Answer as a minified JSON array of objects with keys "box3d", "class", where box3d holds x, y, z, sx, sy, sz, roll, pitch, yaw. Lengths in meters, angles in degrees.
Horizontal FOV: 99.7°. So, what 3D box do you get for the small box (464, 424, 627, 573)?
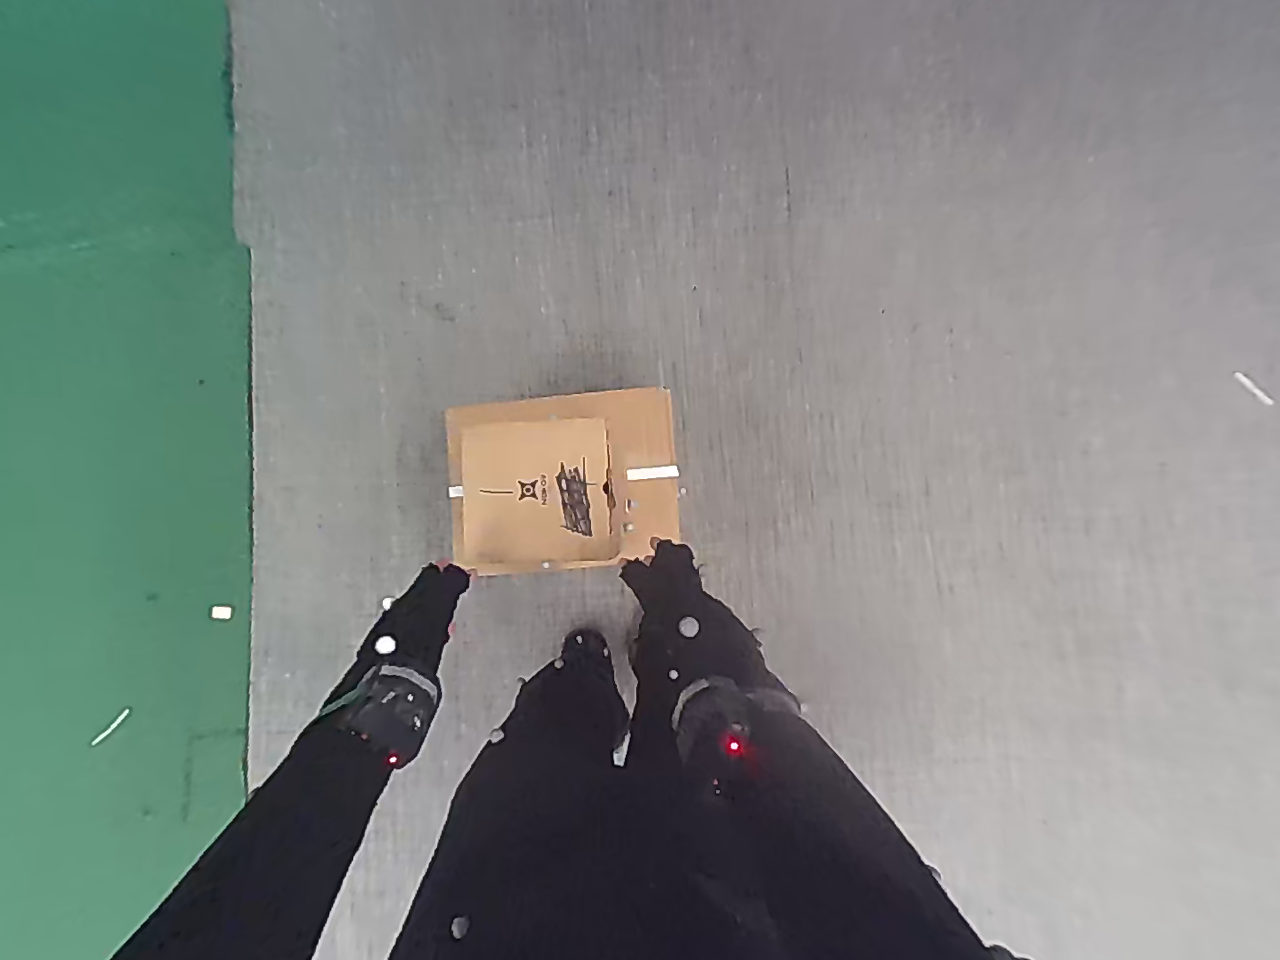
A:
[{"box3d":[-0.111,0.024,0.706,0.179,0.176,0.168,-5,87,3],"class":"small box"}]
